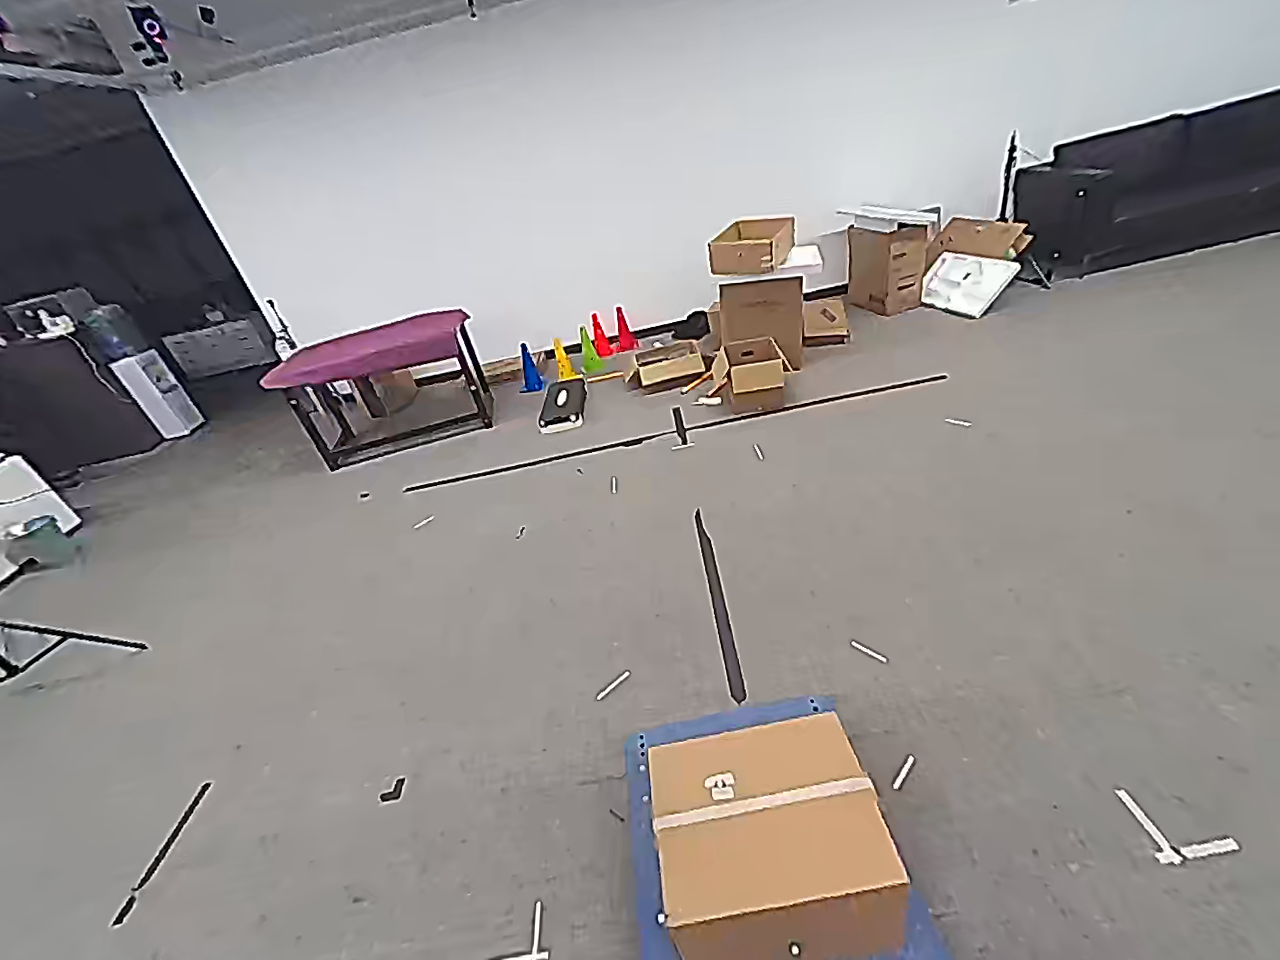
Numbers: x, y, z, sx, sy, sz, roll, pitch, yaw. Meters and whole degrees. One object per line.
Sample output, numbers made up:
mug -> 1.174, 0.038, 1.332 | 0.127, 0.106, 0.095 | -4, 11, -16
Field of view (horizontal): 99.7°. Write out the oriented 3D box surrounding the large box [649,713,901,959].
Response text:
large box -> 0.258, 0.740, 1.102 | 0.408, 0.320, 0.320 | -13, 31, 2
